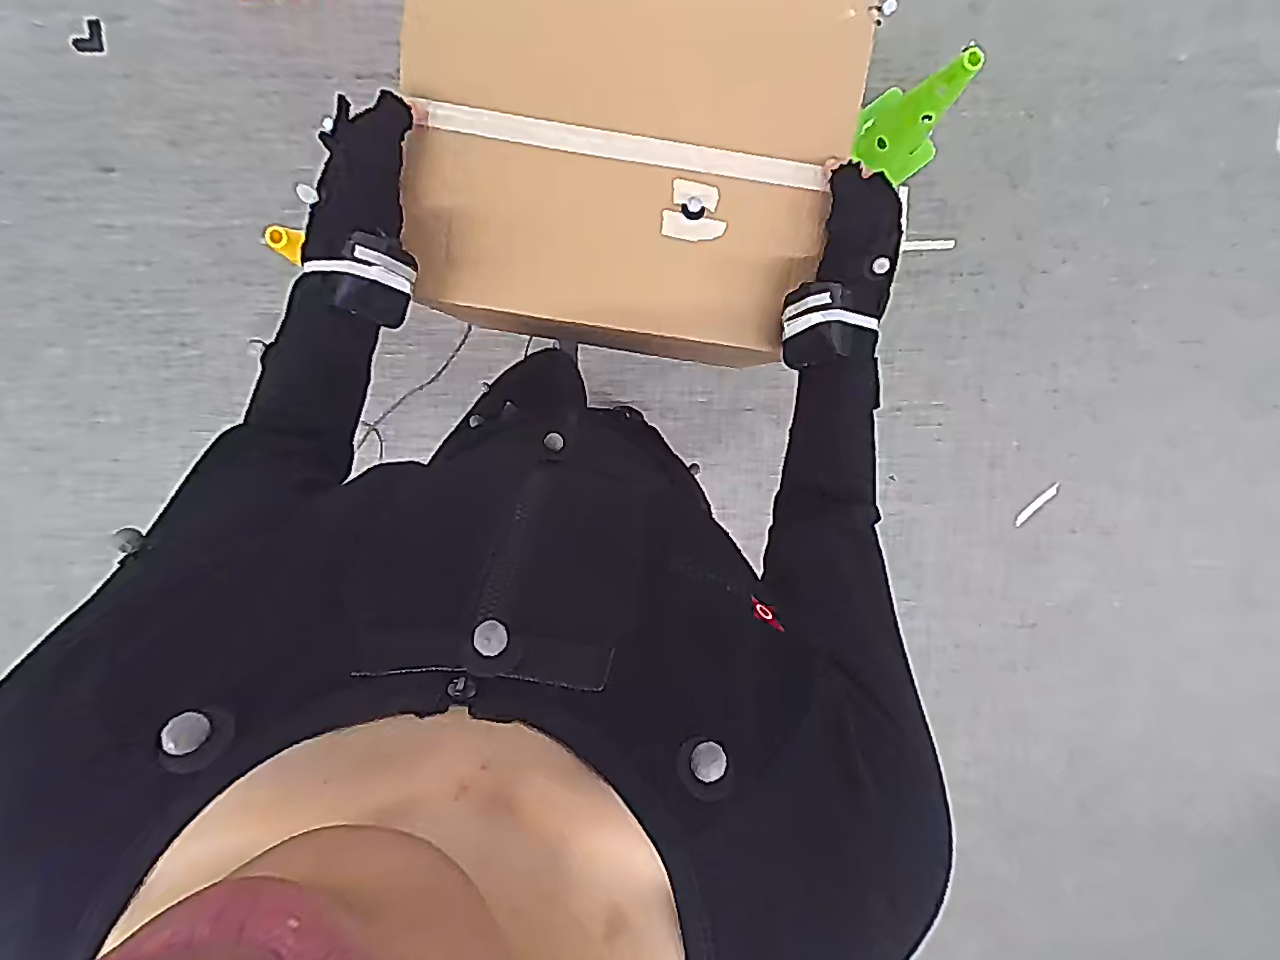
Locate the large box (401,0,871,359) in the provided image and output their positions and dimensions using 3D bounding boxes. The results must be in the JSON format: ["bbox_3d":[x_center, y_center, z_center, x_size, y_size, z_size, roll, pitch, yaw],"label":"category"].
[{"bbox_3d":[-0.016,-0.330,0.637,0.408,0.320,0.320,8,100,-4],"label":"large box"}]

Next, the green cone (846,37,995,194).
[{"bbox_3d":[0.627,-0.821,1.176,0.202,0.368,0.200,-38,99,3],"label":"green cone"}]
